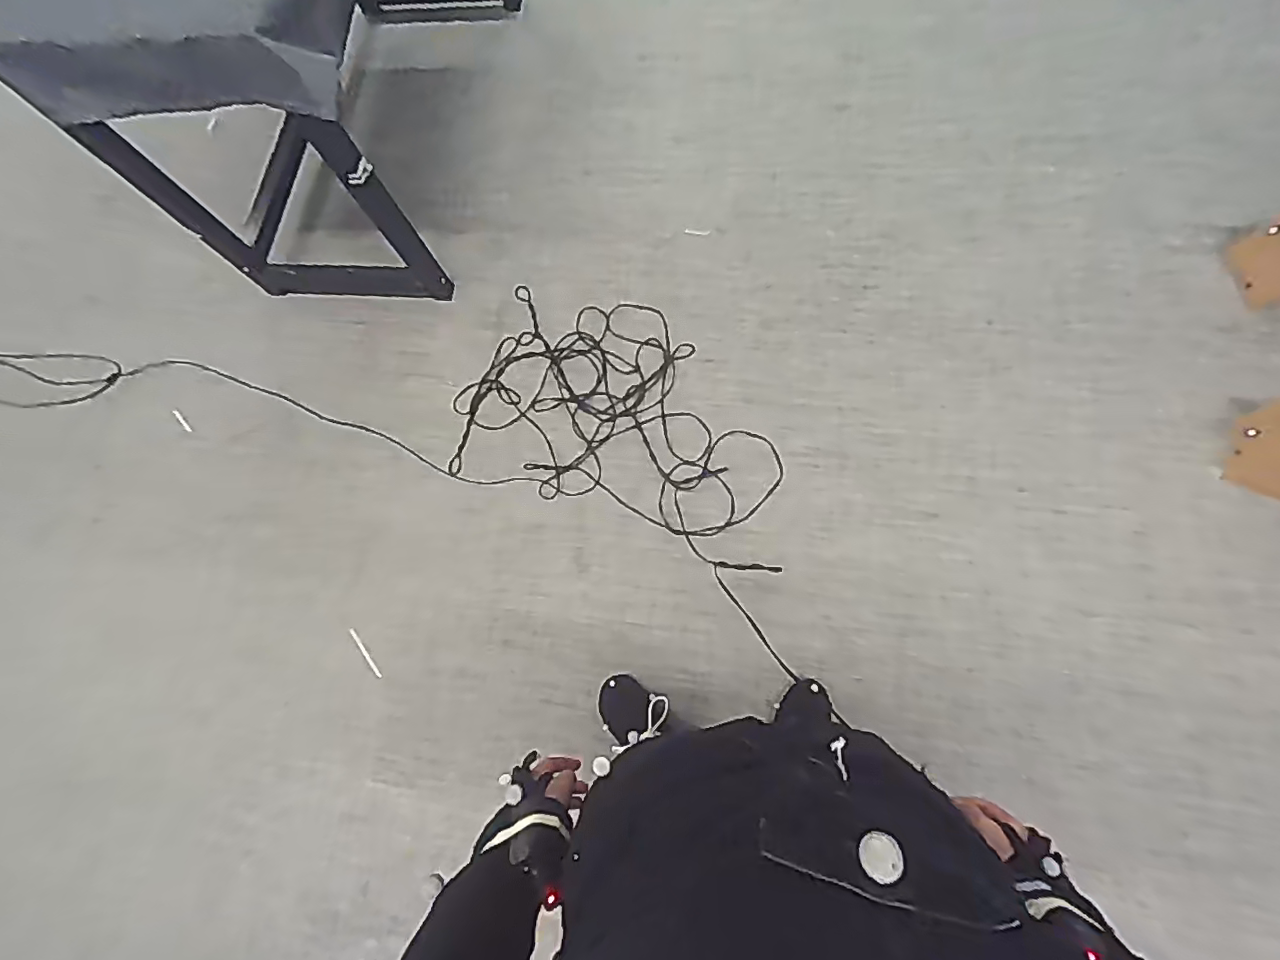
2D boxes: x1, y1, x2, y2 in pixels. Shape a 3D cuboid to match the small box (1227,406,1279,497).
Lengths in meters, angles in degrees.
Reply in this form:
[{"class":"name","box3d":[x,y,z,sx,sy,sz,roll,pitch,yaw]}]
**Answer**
[{"class":"small box","box3d":[1.392,-0.061,1.108,0.179,0.176,0.168,23,78,13]}]
